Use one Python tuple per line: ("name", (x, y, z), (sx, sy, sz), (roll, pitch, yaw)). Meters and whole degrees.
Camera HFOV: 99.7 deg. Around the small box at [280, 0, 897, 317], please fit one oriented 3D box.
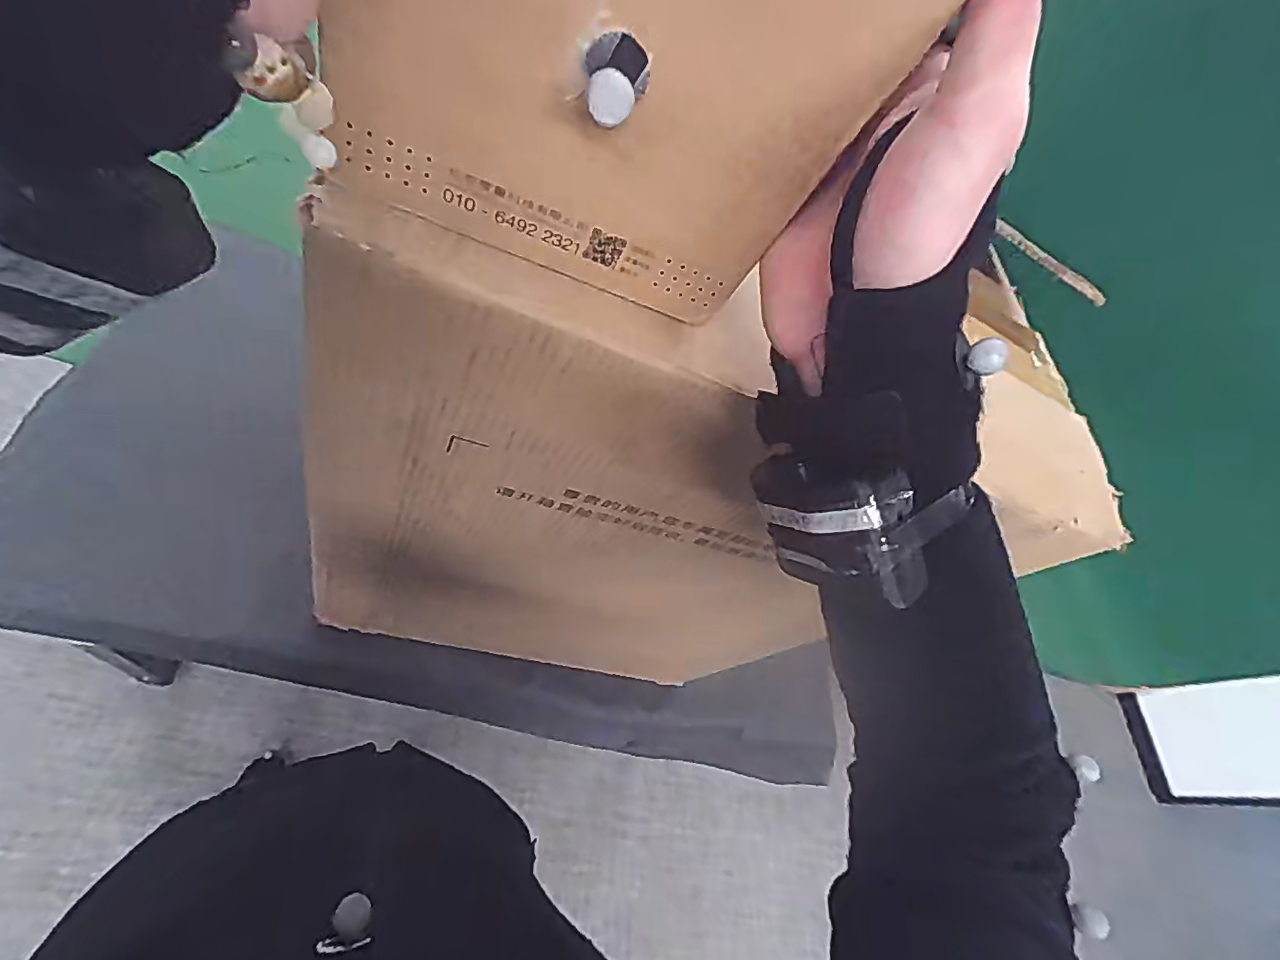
("small box", (-0.018, -0.193, 0.199), (0.168, 0.176, 0.179), (14, 58, -20))
